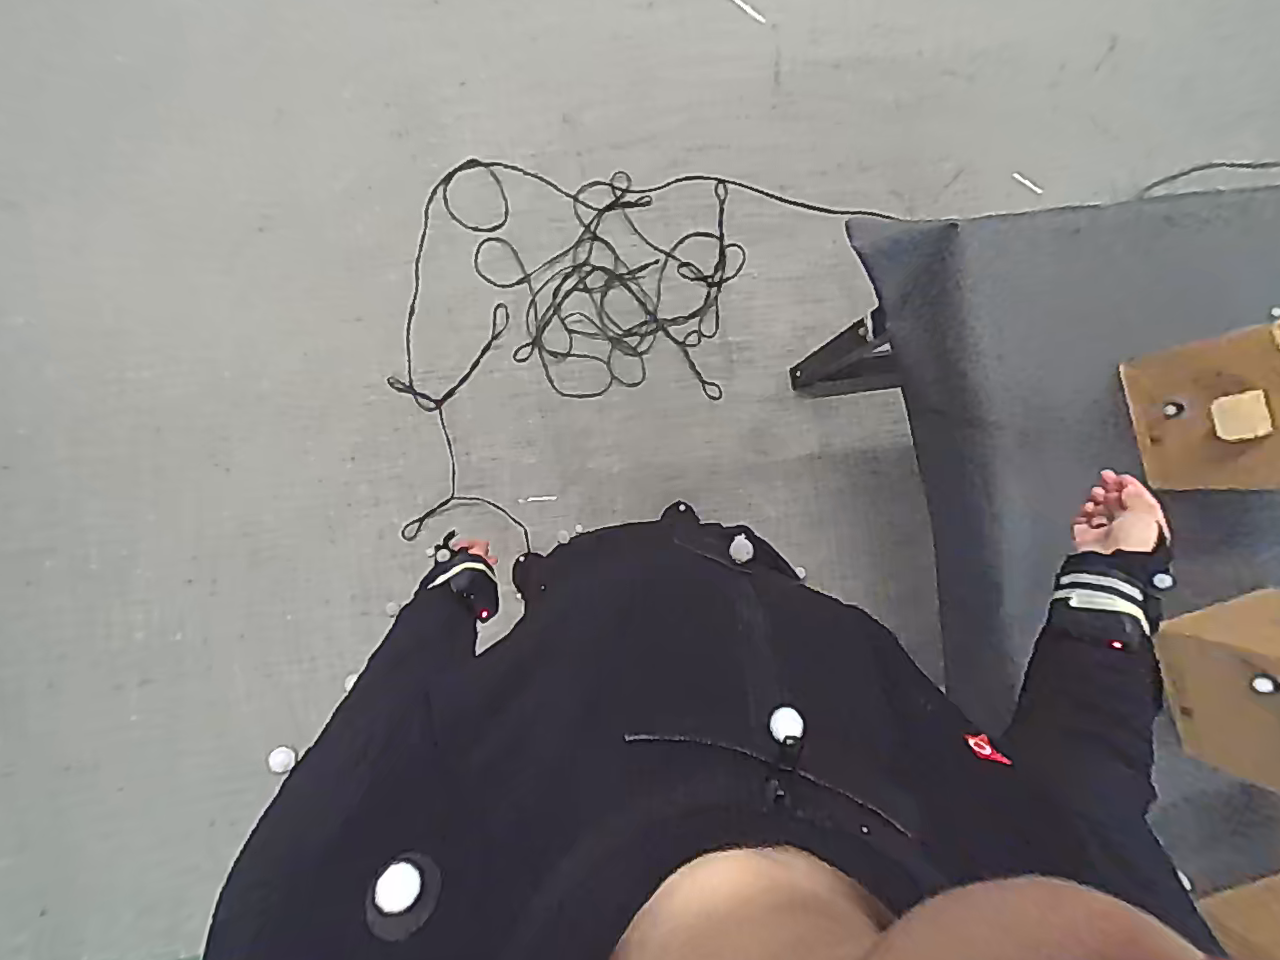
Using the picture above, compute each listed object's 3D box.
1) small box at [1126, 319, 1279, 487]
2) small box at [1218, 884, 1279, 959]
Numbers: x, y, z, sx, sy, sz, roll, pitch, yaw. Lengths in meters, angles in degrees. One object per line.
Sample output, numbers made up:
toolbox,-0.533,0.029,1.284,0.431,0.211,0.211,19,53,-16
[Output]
small box,0.705,-0.093,0.594,0.179,0.176,0.168,-15,90,-3
small box,0.792,0.575,0.583,0.179,0.176,0.168,-15,90,-4
